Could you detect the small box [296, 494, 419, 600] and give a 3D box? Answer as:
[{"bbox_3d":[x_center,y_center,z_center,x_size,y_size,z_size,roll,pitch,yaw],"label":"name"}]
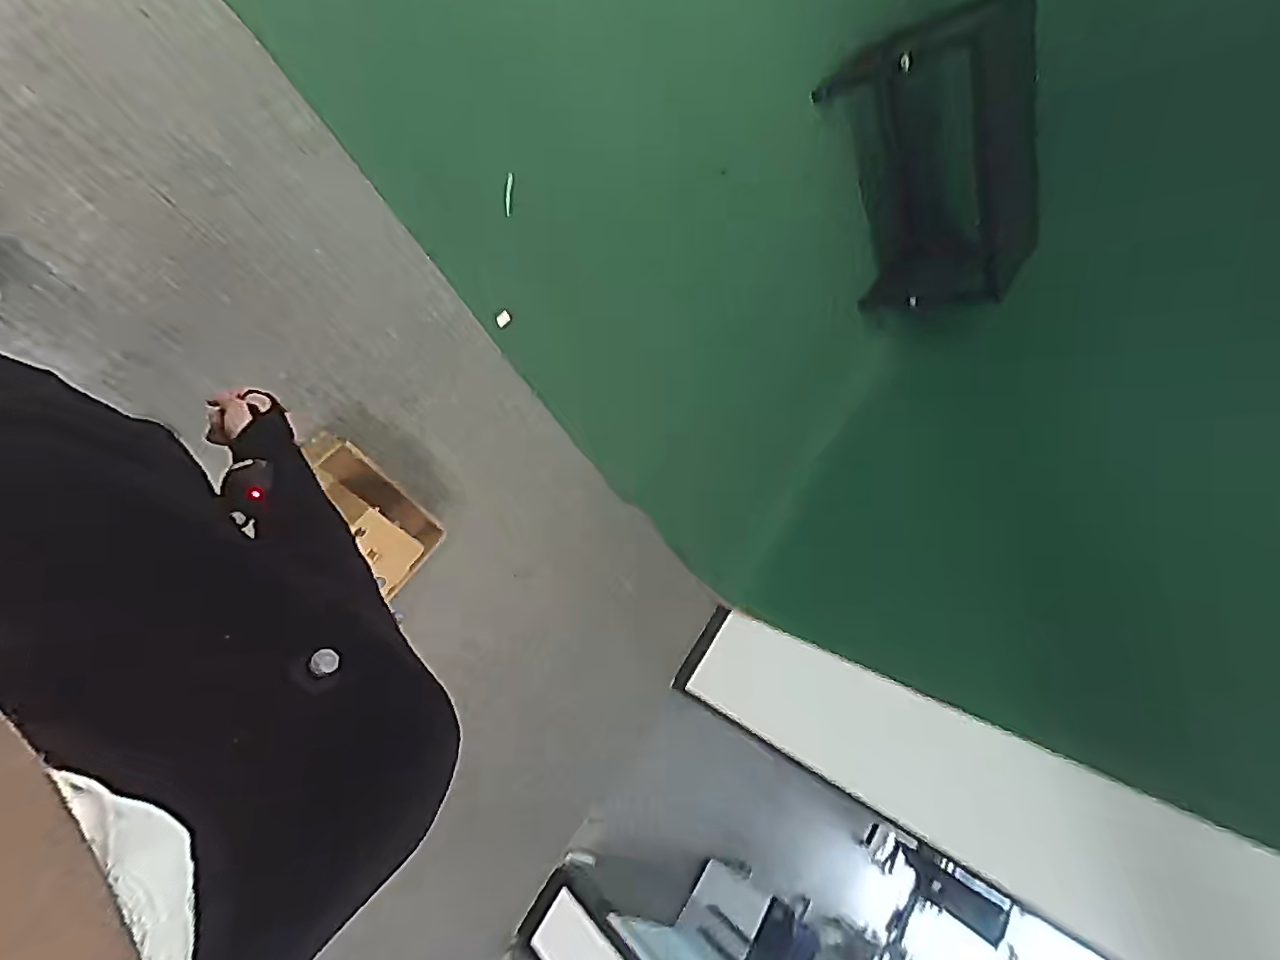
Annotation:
[{"bbox_3d":[-0.679,0.154,1.300,0.168,0.176,0.179,-54,132,-20],"label":"small box"}]
